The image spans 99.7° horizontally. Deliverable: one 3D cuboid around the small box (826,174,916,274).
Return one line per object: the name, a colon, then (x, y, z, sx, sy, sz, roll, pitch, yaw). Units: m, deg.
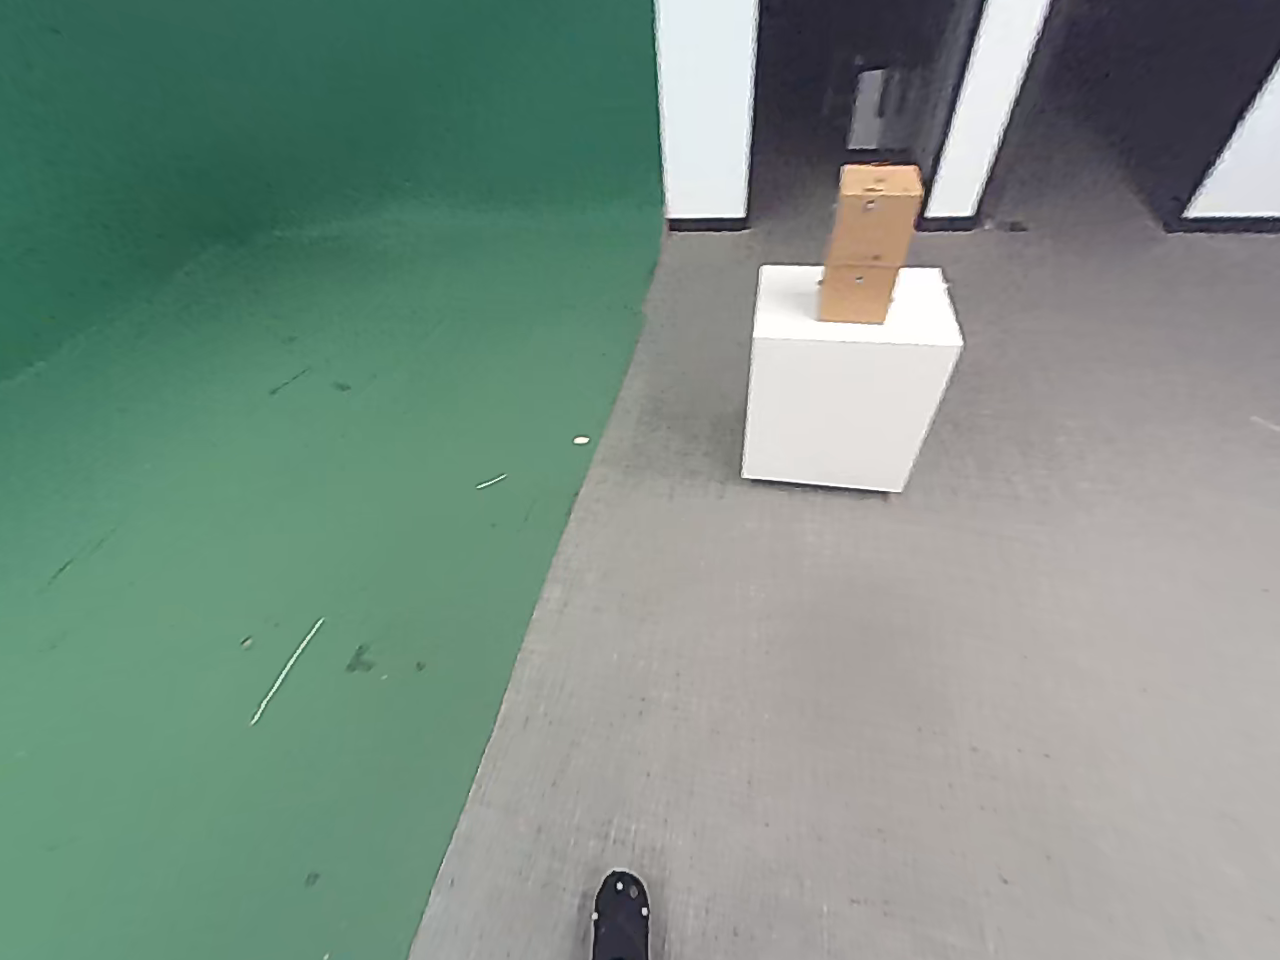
small box: (0.556, -0.629, 1.325, 0.168, 0.176, 0.179, 6, 50, 11)

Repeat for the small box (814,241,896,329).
small box: (0.565, -0.521, 1.444, 0.179, 0.176, 0.168, 7, 49, 12)
